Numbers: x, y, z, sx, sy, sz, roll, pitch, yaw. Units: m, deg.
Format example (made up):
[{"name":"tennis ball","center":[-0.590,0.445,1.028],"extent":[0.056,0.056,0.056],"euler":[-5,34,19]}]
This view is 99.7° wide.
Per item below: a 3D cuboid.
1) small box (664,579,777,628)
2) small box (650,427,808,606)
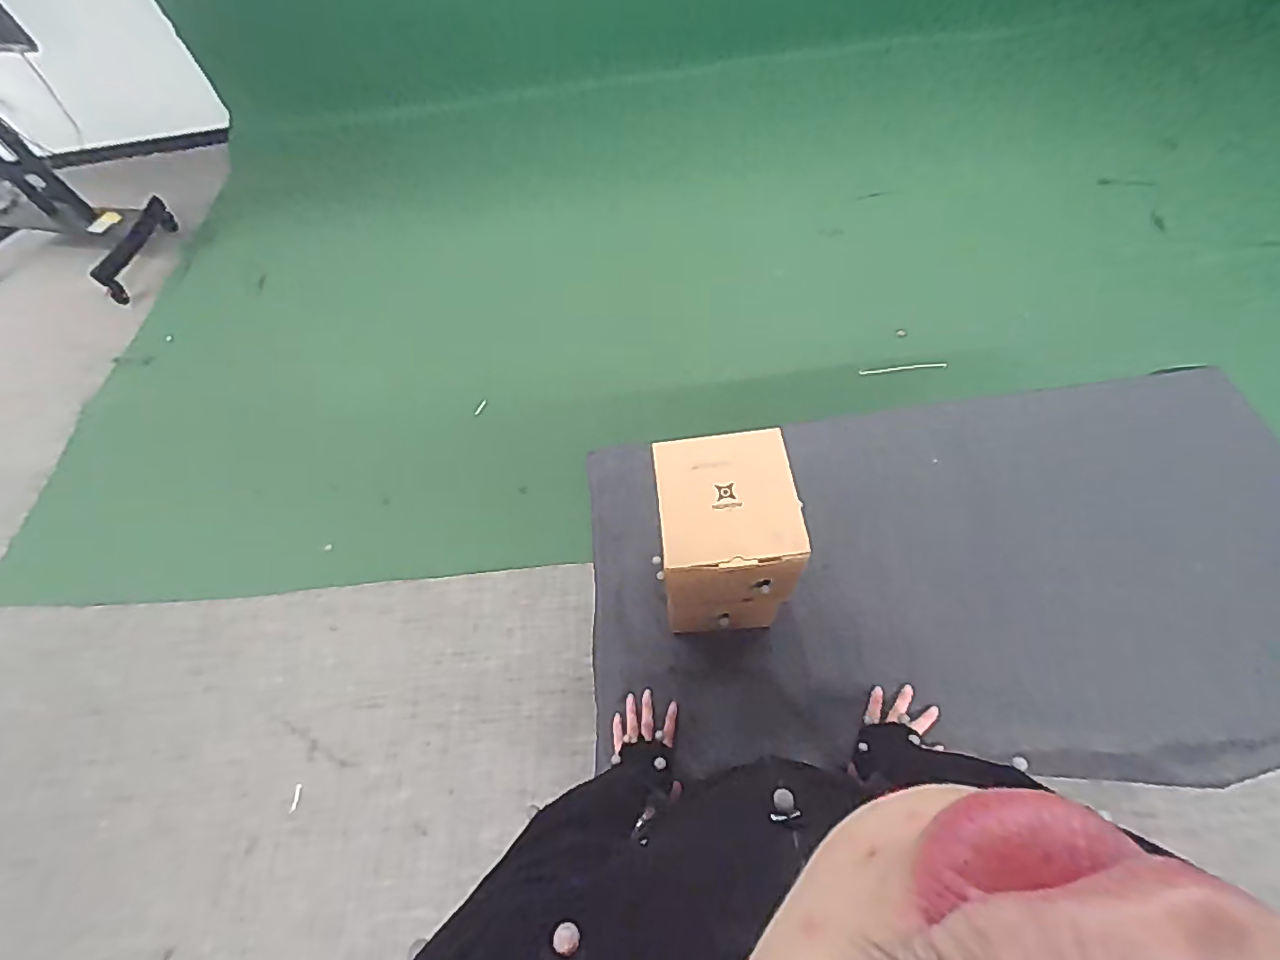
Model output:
[{"name":"small box","center":[0.122,0.128,0.852],"extent":[0.168,0.176,0.179],"euler":[-5,59,3]},{"name":"small box","center":[0.107,0.057,0.705],"extent":[0.168,0.176,0.179],"euler":[-7,58,2]}]
